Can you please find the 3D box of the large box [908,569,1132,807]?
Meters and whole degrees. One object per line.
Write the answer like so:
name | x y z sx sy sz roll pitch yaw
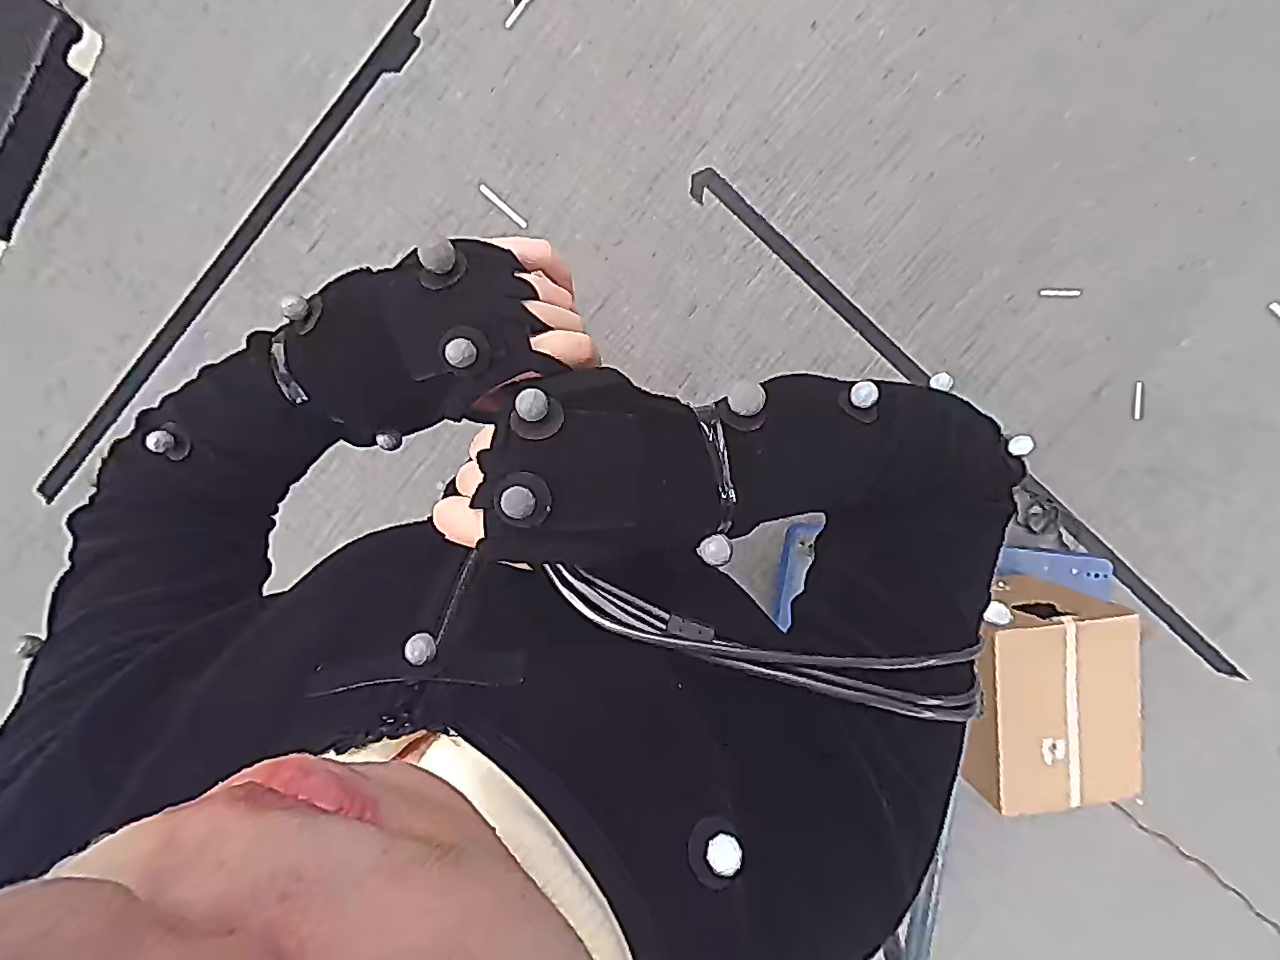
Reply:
large box | 0.861 0.455 1.261 0.320 0.320 0.408 -6 97 -3
